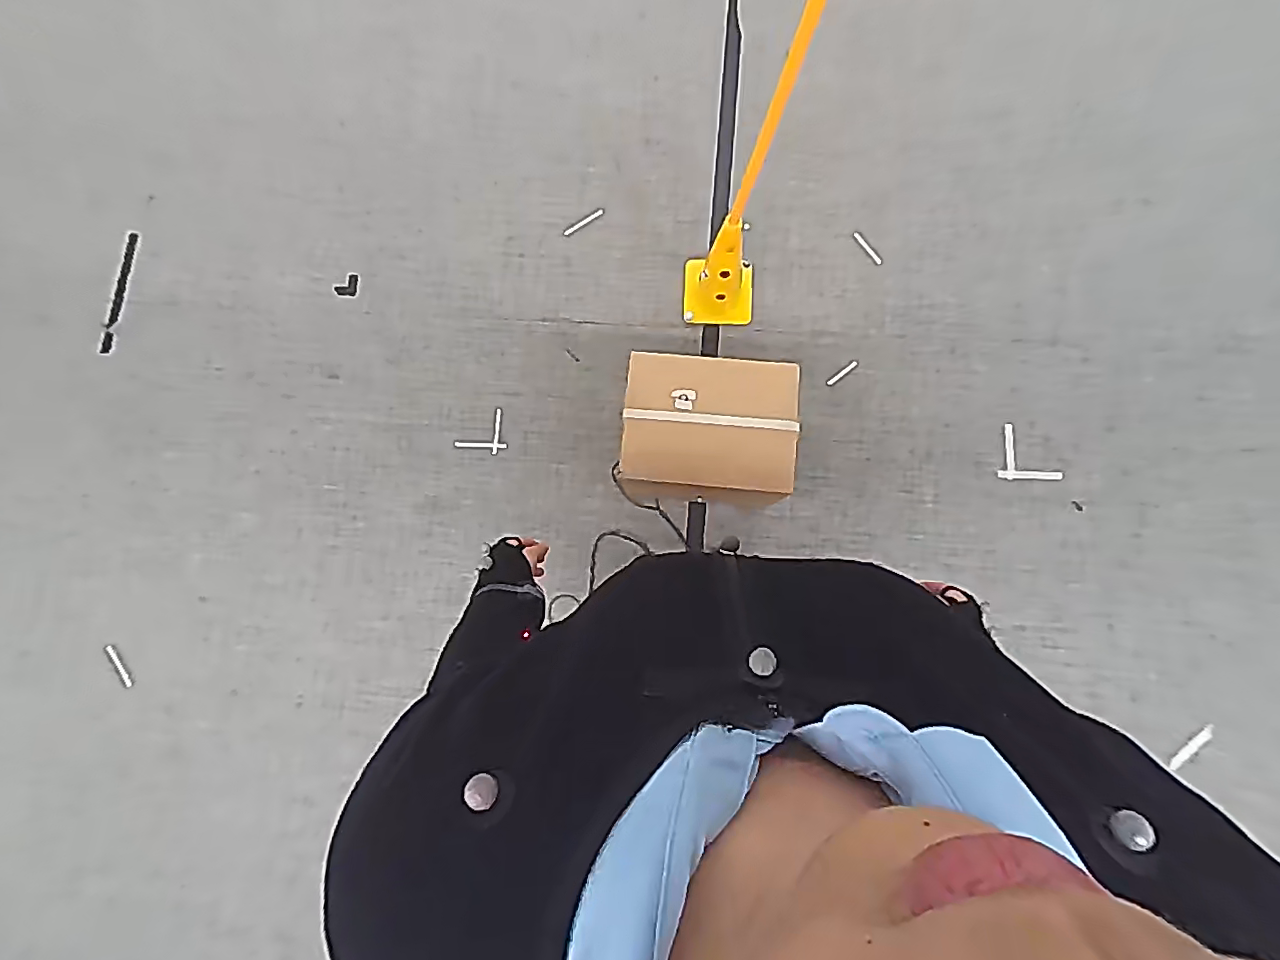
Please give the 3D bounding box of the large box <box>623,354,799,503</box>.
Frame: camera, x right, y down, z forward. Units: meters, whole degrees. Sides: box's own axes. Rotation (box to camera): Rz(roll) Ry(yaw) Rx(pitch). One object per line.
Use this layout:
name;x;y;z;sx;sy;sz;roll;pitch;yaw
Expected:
large box;0.179;-0.118;1.414;0.408;0.320;0.320;5;80;4
